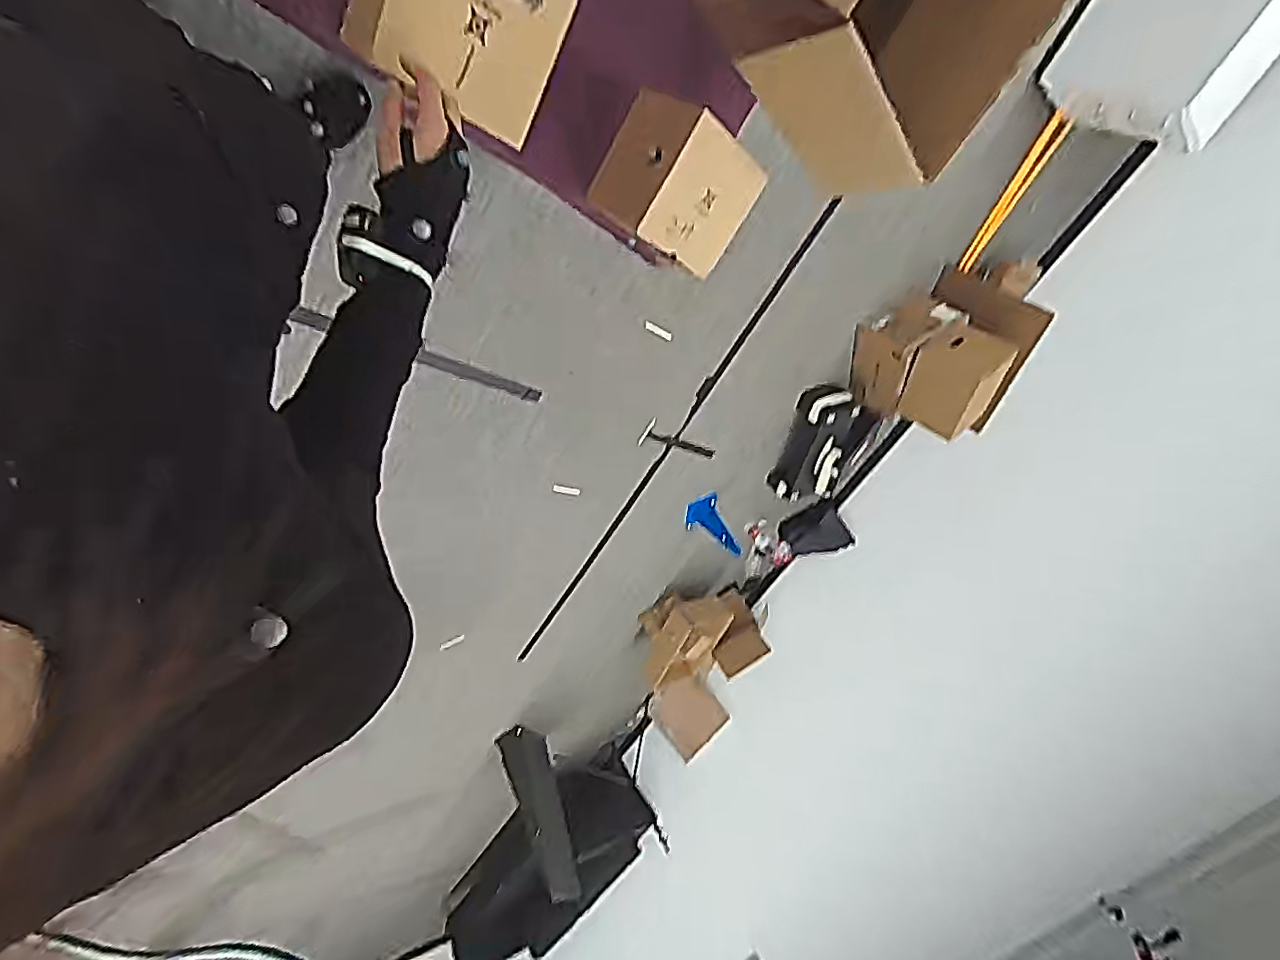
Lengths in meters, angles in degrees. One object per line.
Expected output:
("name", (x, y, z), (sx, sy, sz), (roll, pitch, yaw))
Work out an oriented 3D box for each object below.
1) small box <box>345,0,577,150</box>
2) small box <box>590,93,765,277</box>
("small box", (-0.197, -0.502, 0.578), (0.168, 0.176, 0.179), (7, 125, -44))
("small box", (0.051, -0.455, 0.836), (0.168, 0.176, 0.179), (13, 119, -46))
